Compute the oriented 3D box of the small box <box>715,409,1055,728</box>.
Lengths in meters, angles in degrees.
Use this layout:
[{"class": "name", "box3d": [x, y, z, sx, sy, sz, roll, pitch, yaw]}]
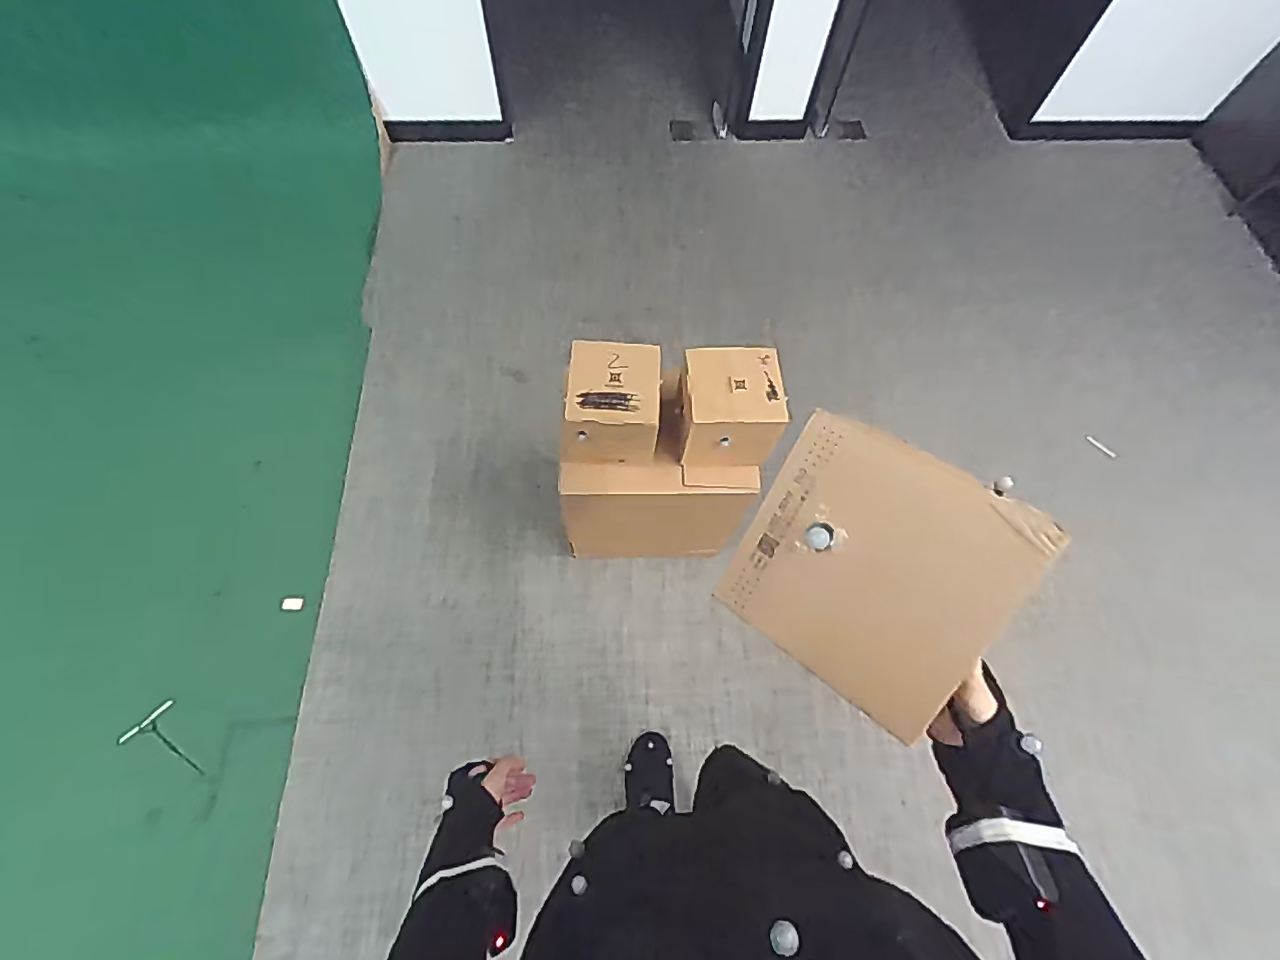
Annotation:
[{"class": "small box", "box3d": [0.194, 0.054, 0.442, 0.176, 0.179, 0.168, 34, 109, 31]}]
